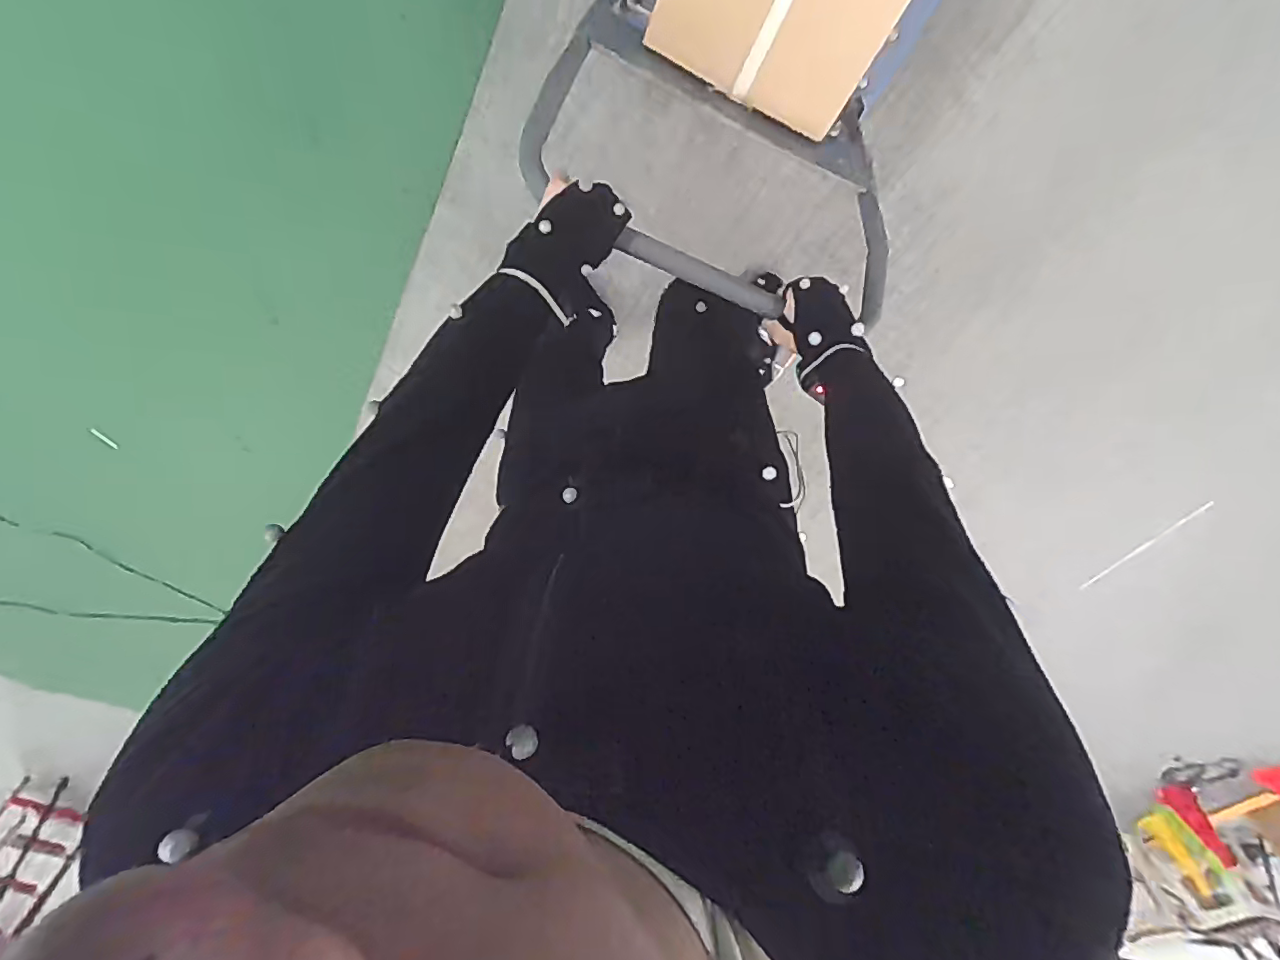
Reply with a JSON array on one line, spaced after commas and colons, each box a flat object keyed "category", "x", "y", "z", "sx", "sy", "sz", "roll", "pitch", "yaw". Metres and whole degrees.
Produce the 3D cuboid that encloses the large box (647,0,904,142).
[{"category": "large box", "x": 0.241, "y": -0.817, "z": 0.792, "sx": 0.320, "sy": 0.320, "sz": 0.408, "roll": 21, "pitch": 139, "yaw": -14}]
